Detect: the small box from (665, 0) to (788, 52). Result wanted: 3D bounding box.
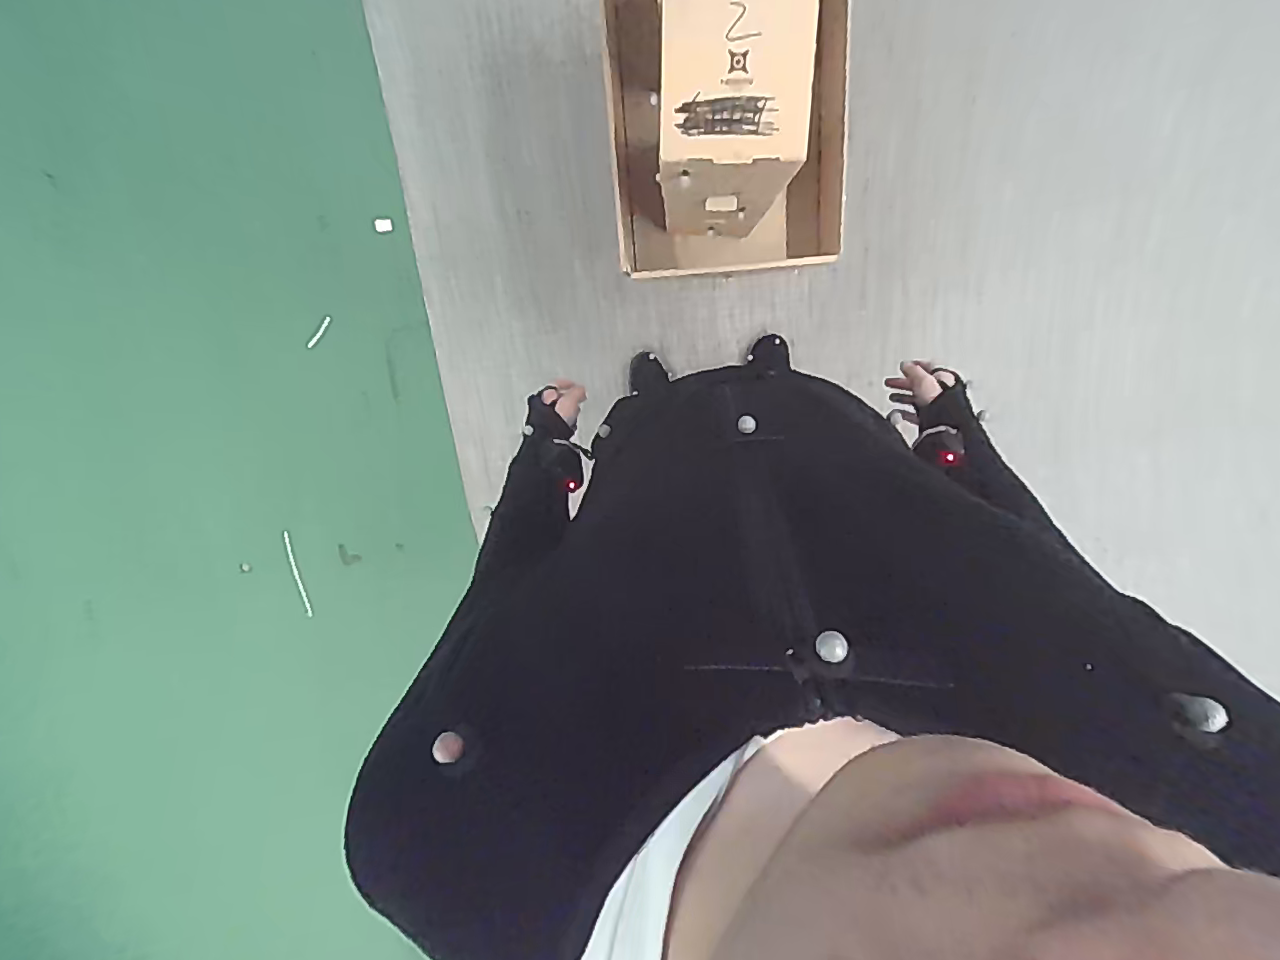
[{"bbox_3d":[0.116,-0.741,0.754,0.168,0.176,0.179,-4,107,5],"label":"small box"}]

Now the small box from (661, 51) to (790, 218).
[{"bbox_3d":[0.120,-0.505,0.816,0.168,0.176,0.179,2,104,3],"label":"small box"}]
